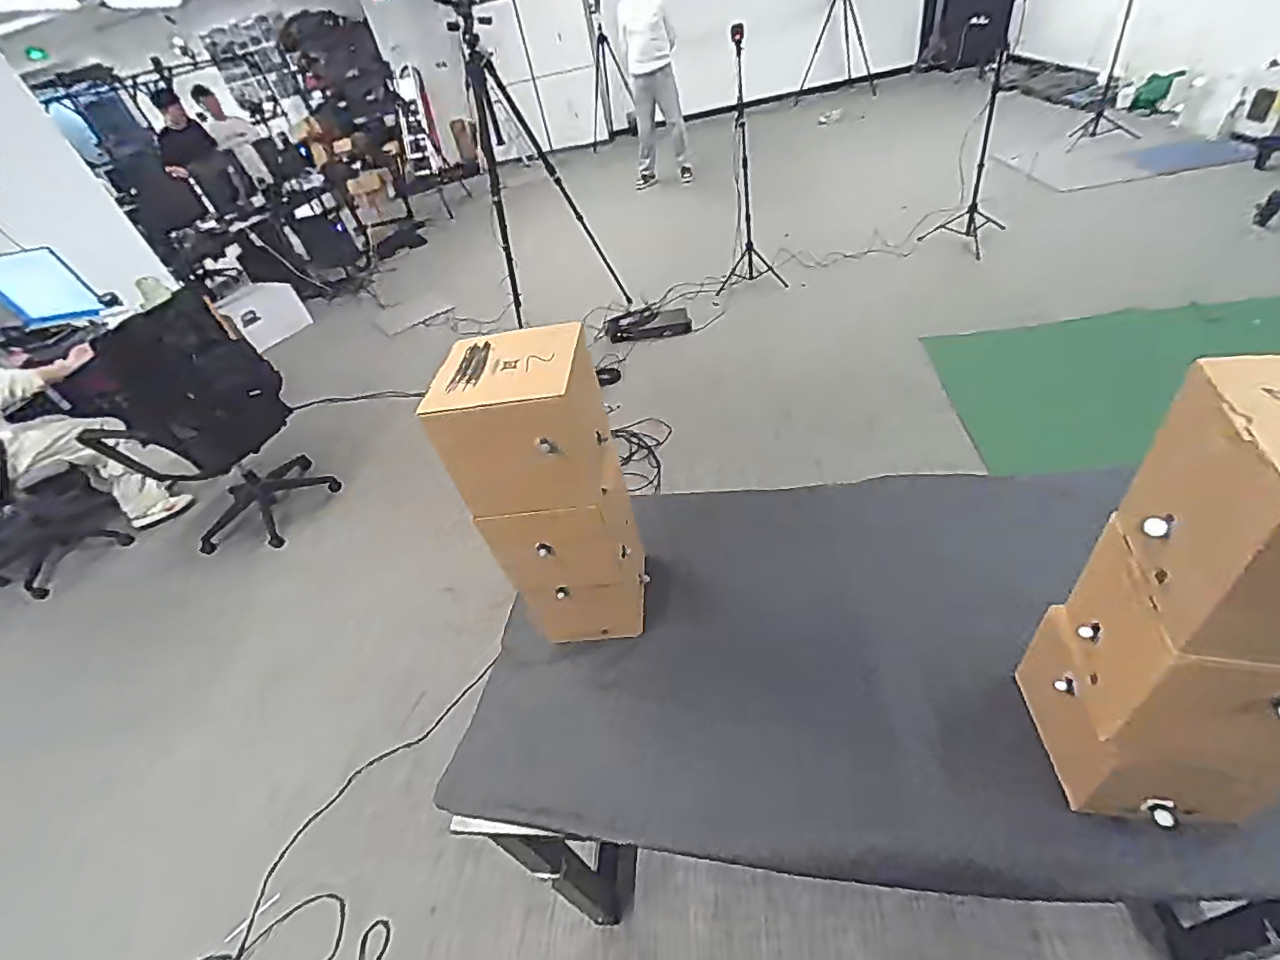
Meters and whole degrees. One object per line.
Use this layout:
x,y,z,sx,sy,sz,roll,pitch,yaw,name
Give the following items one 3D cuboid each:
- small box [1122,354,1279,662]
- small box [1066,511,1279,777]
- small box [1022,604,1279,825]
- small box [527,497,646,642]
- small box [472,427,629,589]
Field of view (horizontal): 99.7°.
0.505,0.024,0.391,0.179,0.176,0.168,3,42,23,small box
0.535,0.149,0.495,0.179,0.176,0.168,2,42,21,small box
0.569,0.260,0.610,0.168,0.176,0.179,-5,41,13,small box
-0.086,0.154,0.927,0.168,0.176,0.179,-7,42,9,small box
-0.118,0.045,0.807,0.179,0.176,0.168,-7,43,10,small box
